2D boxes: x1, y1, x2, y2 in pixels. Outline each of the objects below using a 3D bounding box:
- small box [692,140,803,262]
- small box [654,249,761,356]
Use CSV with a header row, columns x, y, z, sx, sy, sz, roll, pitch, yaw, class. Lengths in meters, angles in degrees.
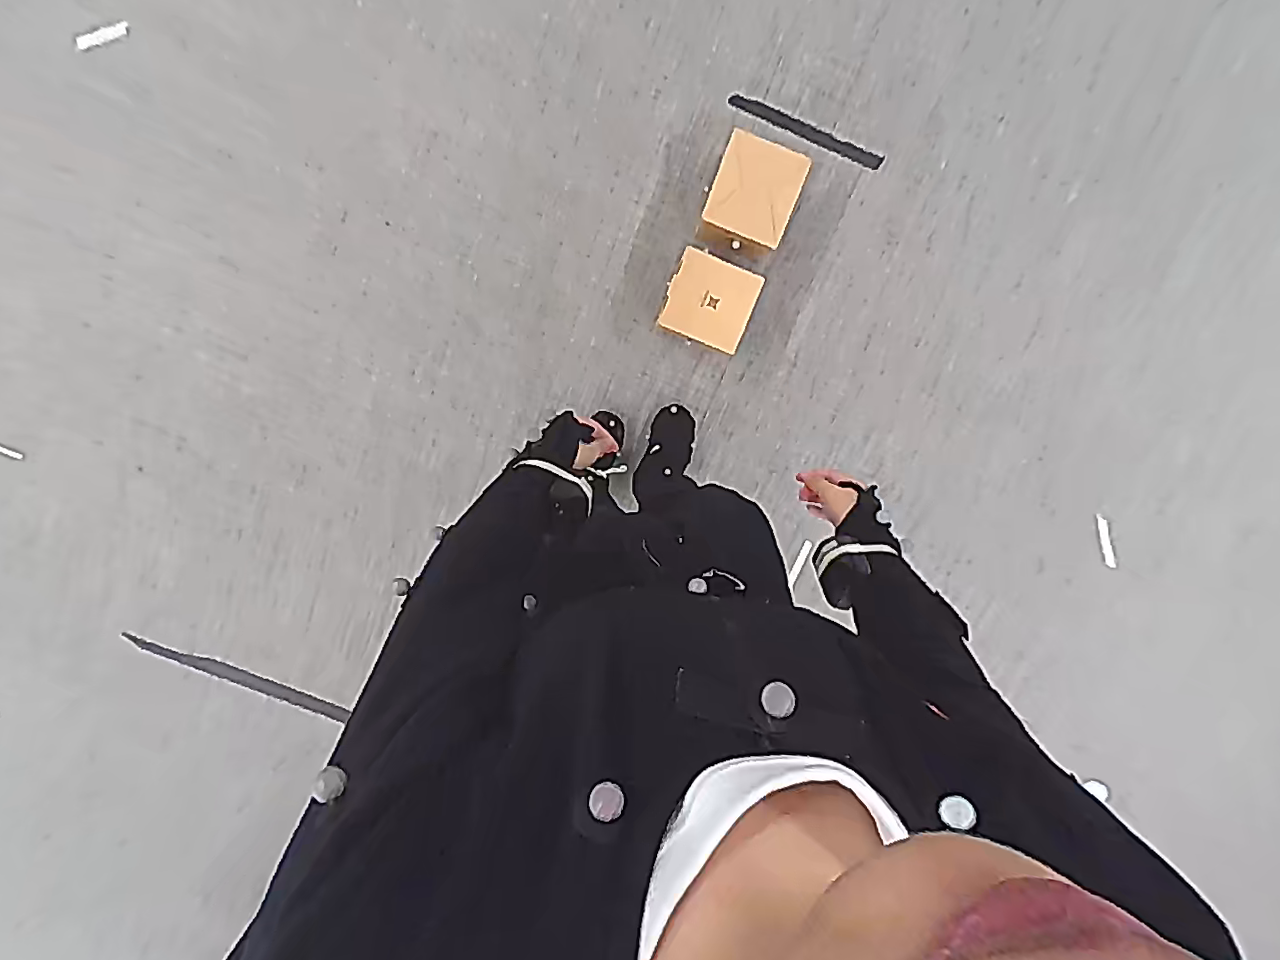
x,y,z,sx,sy,sz,roll,pitch,yaw,class
0.223,-0.588,1.146,0.168,0.176,0.179,20,102,-4,small box
0.141,-0.387,1.200,0.179,0.176,0.168,21,103,-4,small box
